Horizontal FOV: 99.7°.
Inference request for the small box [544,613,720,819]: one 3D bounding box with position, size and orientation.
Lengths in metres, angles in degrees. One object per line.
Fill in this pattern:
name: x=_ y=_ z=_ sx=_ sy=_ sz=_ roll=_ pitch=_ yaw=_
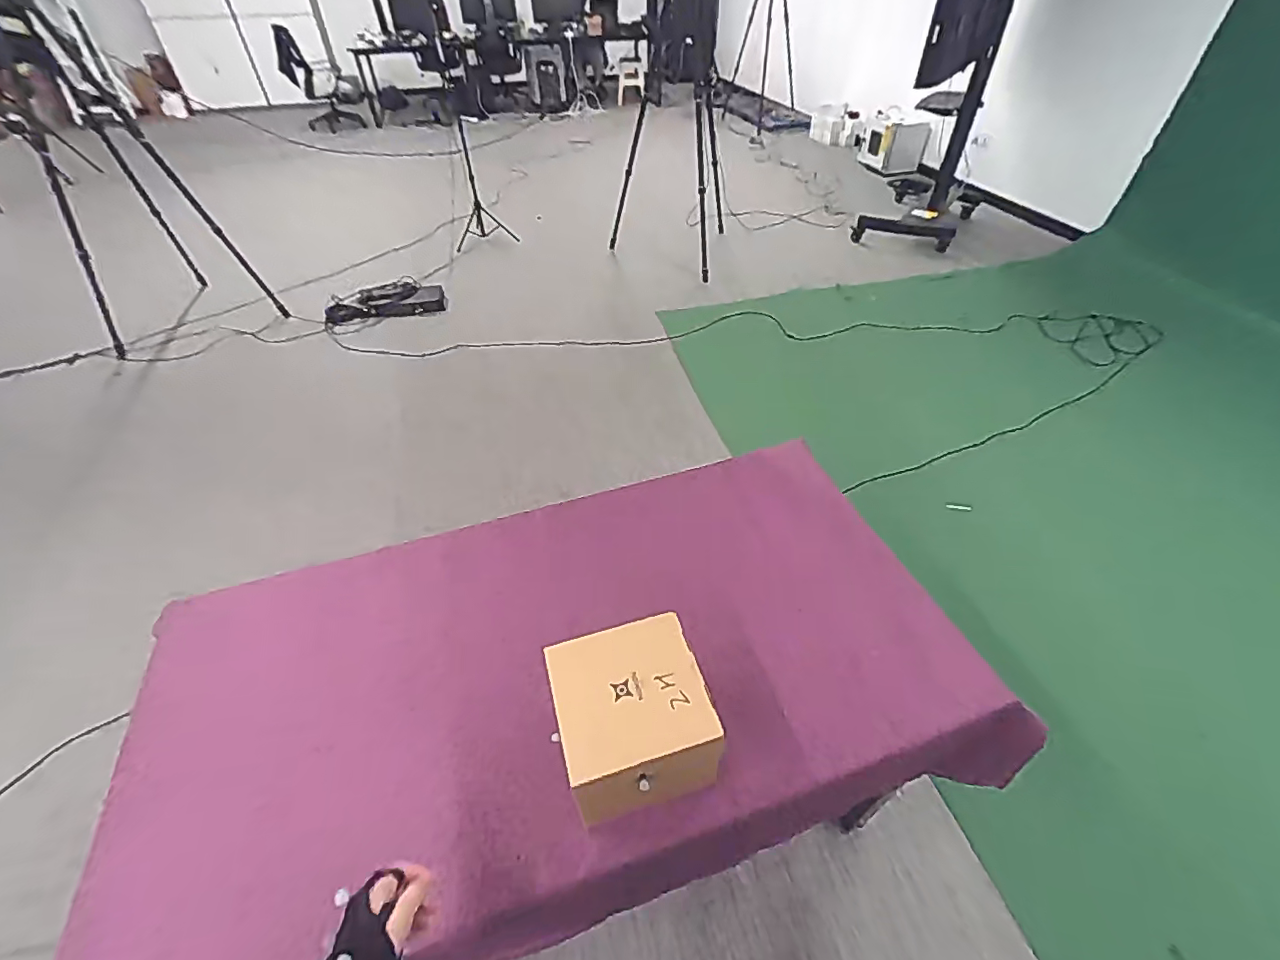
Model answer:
small box: x=-0.012 y=0.301 z=0.688 sx=0.179 sy=0.176 sz=0.168 roll=-12 pitch=46 yaw=-11
